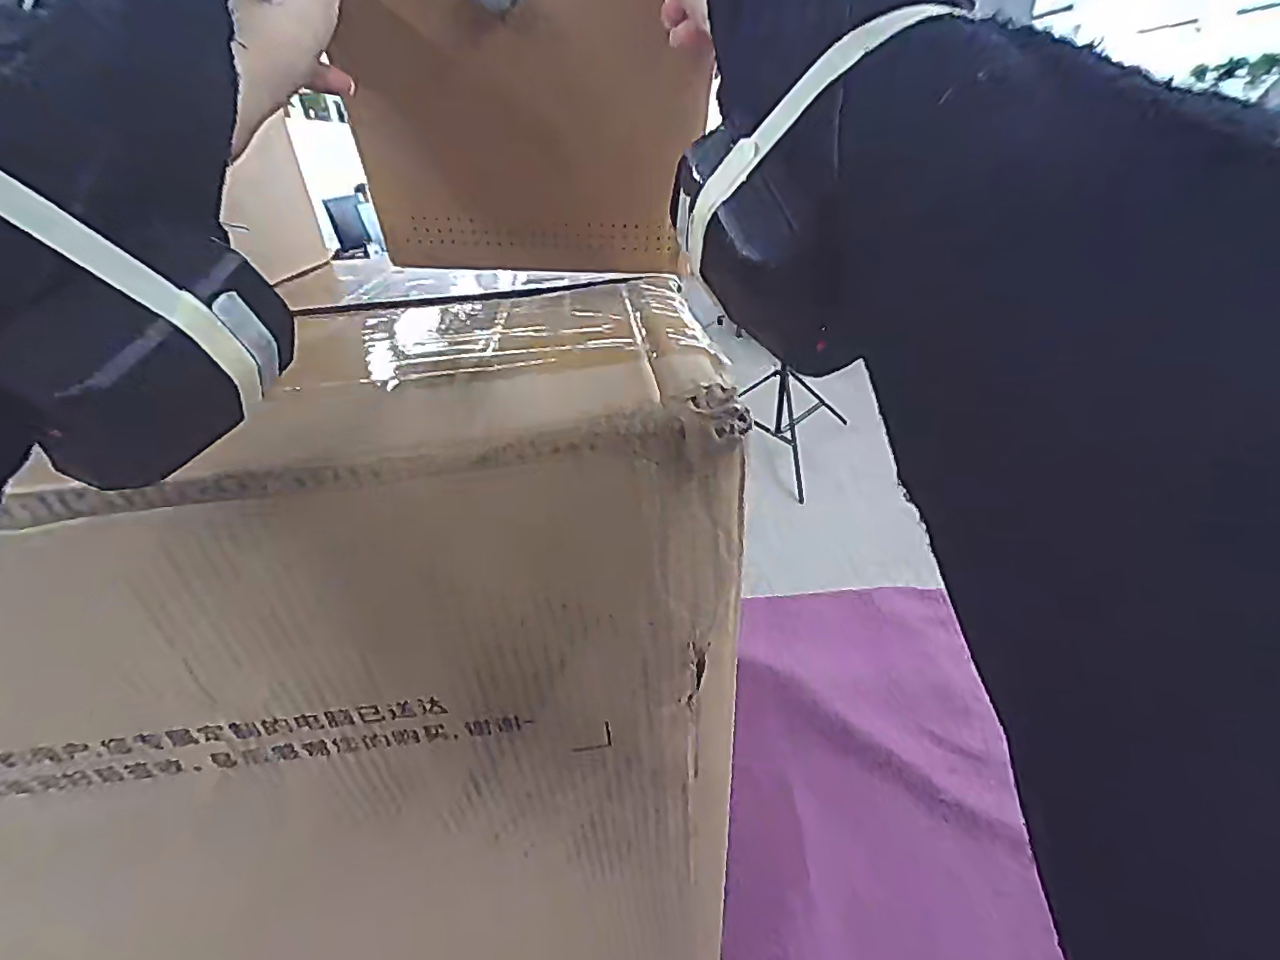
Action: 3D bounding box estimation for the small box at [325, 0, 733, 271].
[{"bbox_3d":[-0.049,-0.237,0.309,0.179,0.176,0.168,0,50,-2],"label":"small box"}]
